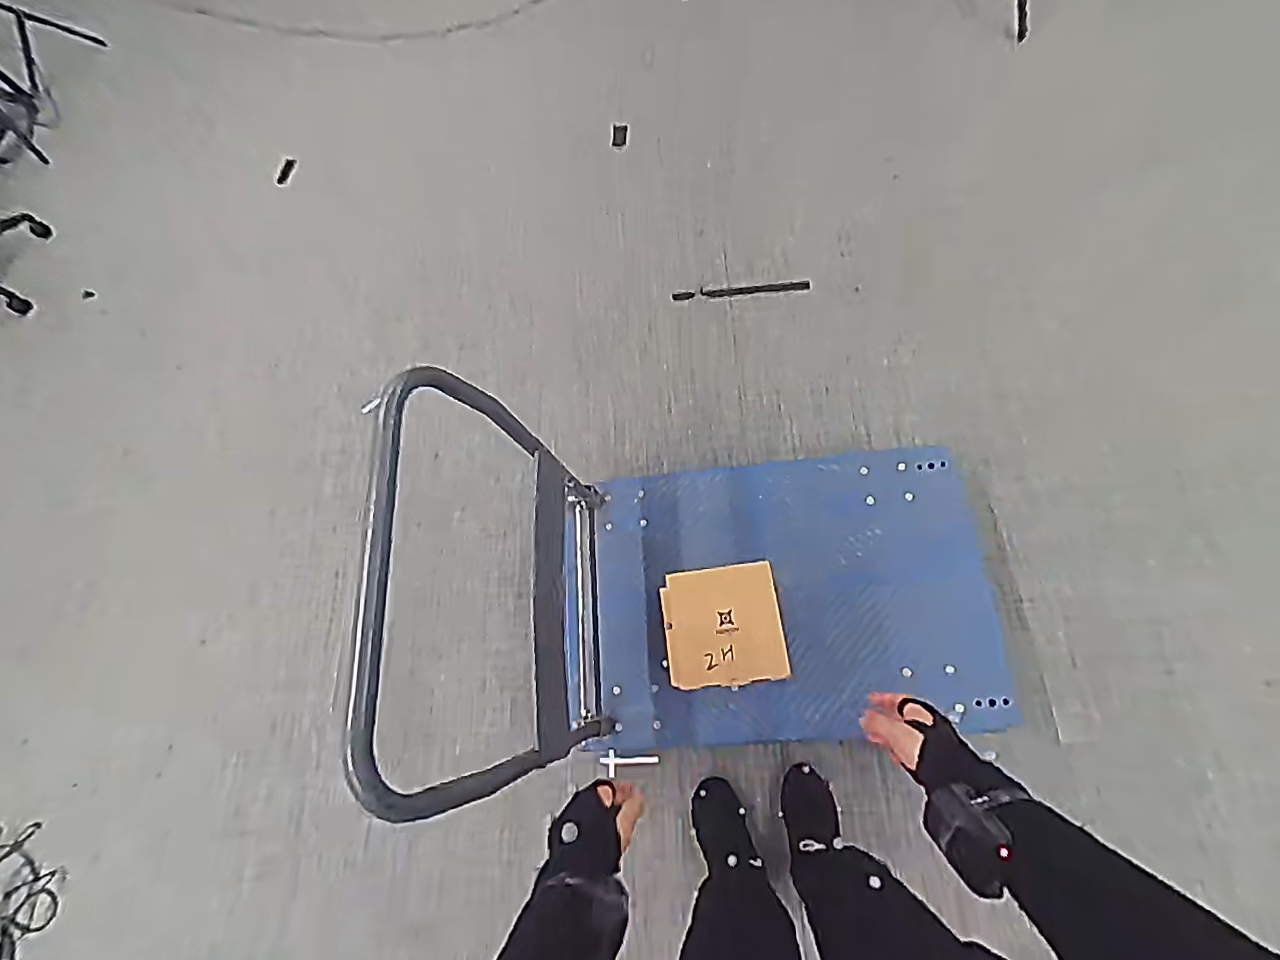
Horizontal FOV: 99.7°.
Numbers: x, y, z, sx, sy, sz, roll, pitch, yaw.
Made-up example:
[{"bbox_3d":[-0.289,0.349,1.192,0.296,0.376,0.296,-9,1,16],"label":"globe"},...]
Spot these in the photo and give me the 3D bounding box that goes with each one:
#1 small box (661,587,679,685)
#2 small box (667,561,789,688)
[{"bbox_3d":[0.137,0.299,1.054,0.168,0.176,0.179,-9,71,5],"label":"small box"},{"bbox_3d":[0.139,0.243,0.897,0.168,0.176,0.179,-9,71,6],"label":"small box"}]
